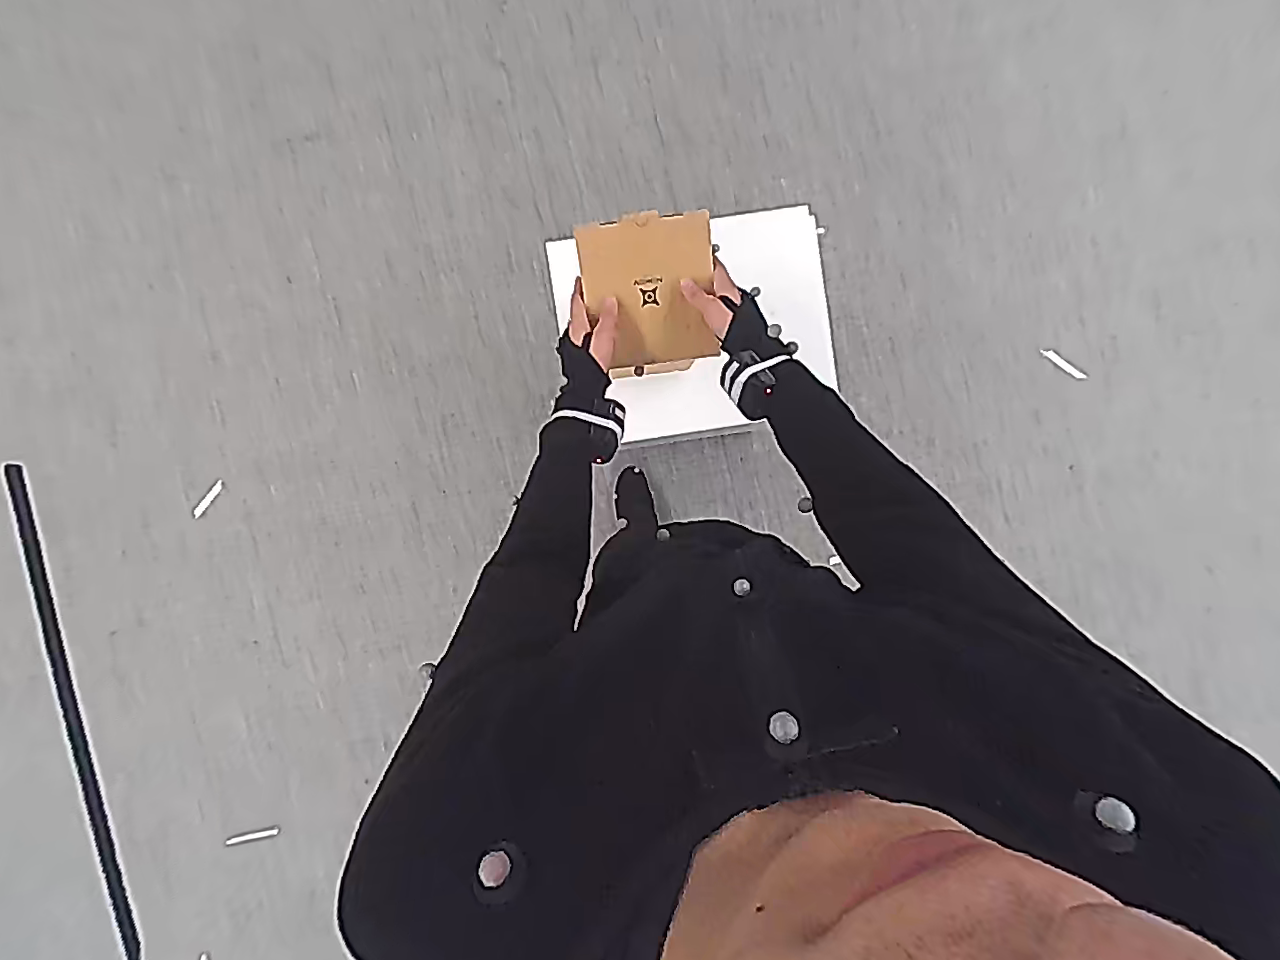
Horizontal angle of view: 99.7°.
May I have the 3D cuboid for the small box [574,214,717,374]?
[{"bbox_3d":[0.008,-0.244,0.746,0.168,0.176,0.179,-7,101,0],"label":"small box"}]
